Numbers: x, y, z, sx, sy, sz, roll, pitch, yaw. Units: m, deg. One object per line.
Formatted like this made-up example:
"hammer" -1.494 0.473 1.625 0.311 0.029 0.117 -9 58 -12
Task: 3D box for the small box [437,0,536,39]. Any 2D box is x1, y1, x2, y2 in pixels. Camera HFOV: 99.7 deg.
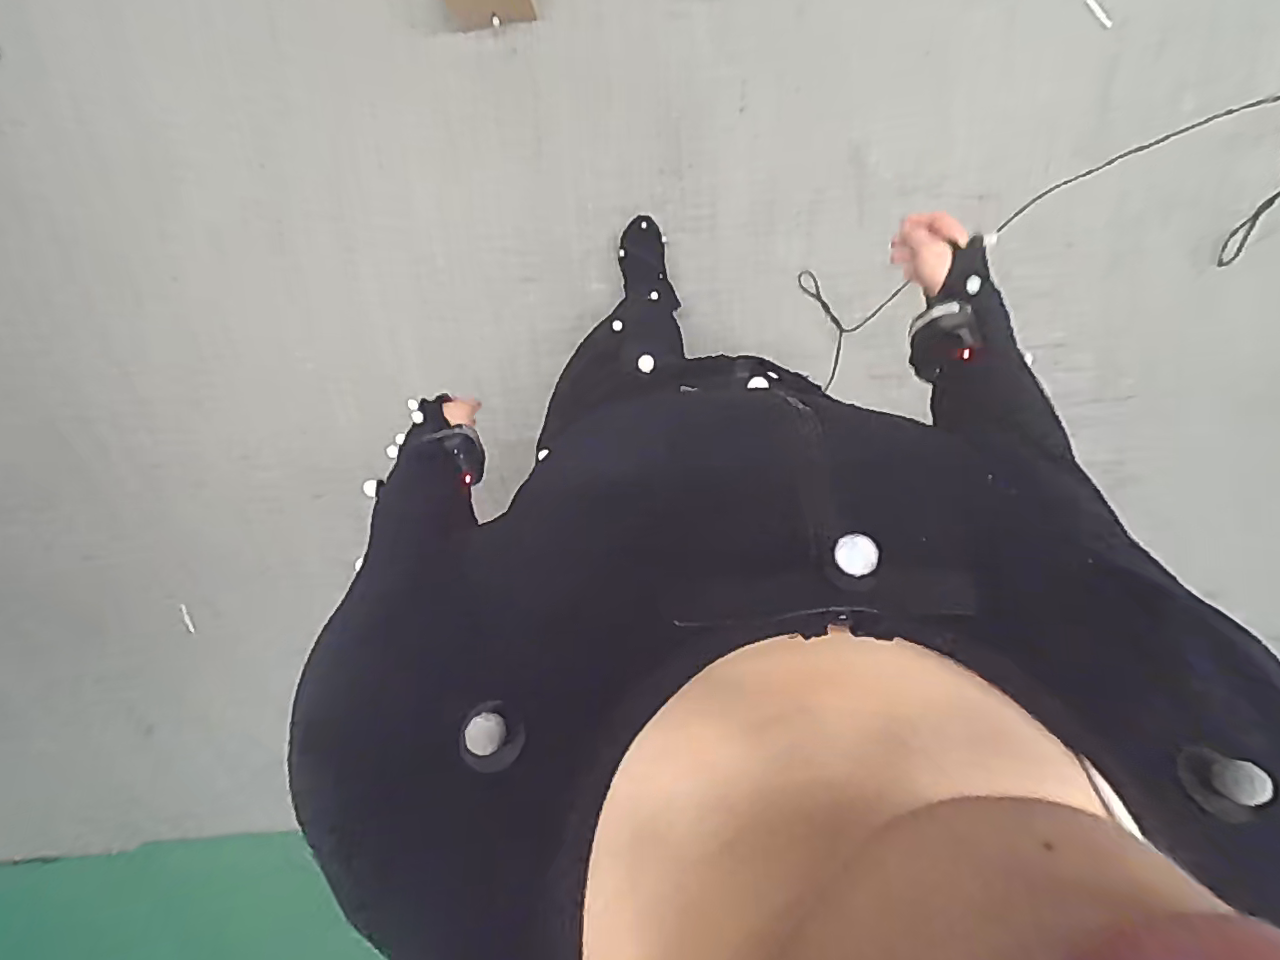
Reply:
"small box" -0.314 -1.030 1.088 0.179 0.176 0.168 -7 108 2
